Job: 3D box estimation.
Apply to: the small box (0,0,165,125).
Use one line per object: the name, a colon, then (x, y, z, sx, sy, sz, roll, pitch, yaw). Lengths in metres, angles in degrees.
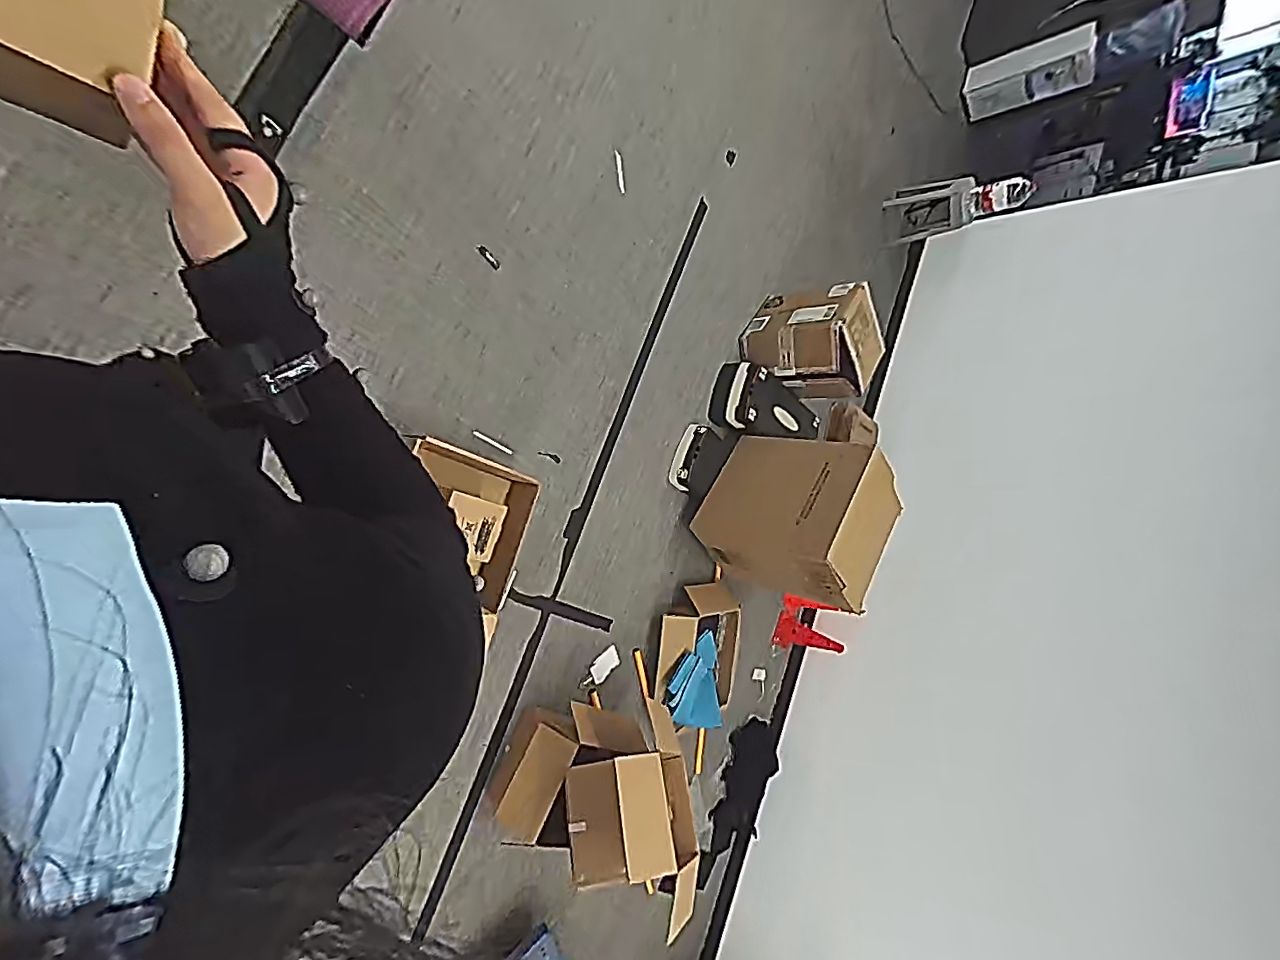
small box: (-0.364, -0.319, 0.281, 0.179, 0.176, 0.168, 10, 99, -49)
